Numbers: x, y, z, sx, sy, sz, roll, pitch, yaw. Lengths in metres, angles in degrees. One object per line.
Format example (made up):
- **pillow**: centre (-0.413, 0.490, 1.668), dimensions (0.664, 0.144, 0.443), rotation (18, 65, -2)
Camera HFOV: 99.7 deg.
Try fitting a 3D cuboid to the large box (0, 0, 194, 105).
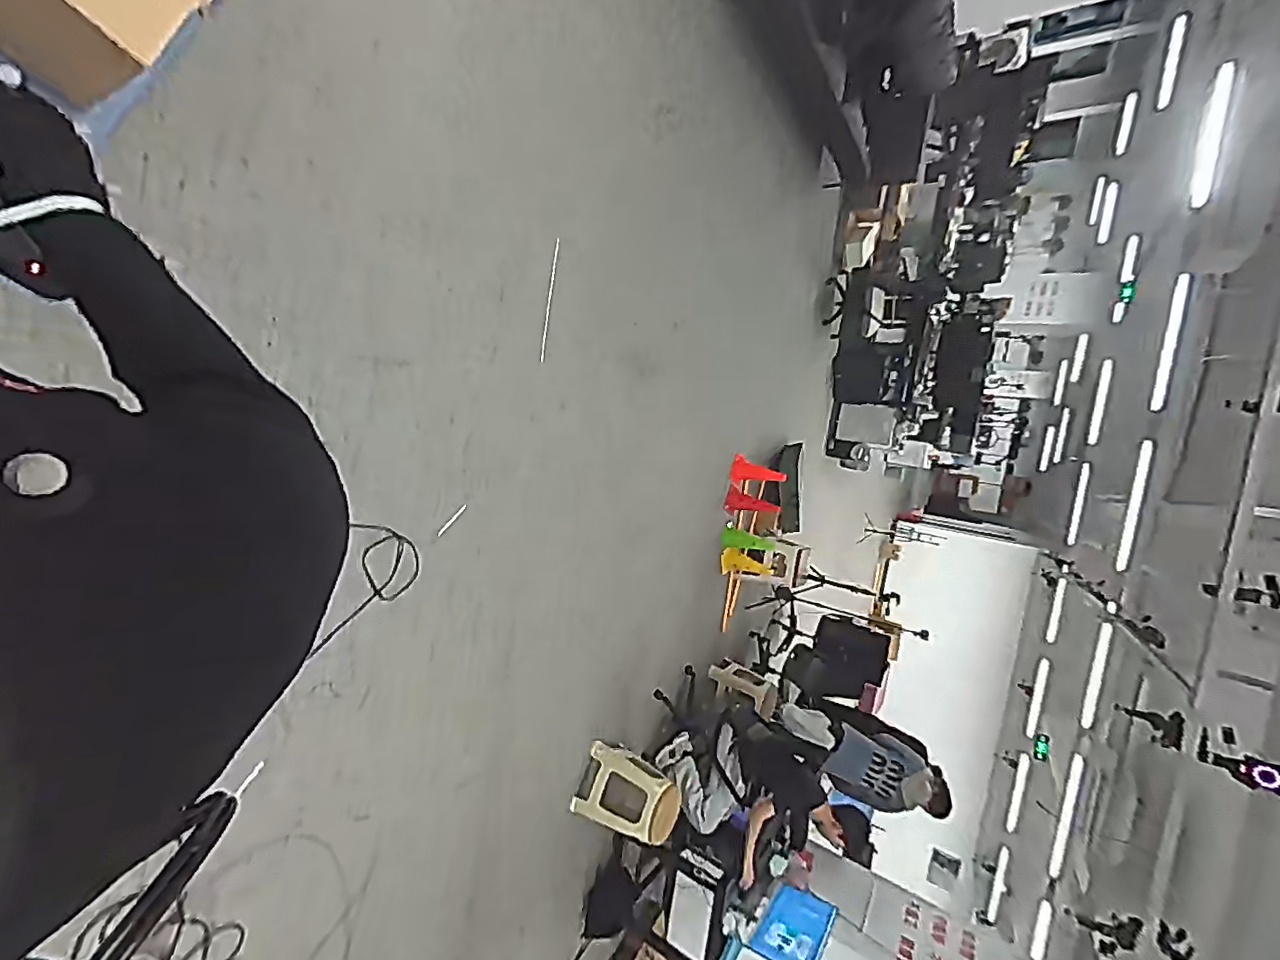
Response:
- **large box**: centre (-0.836, -0.807, 0.698), dimensions (0.408, 0.320, 0.320), rotation (39, 66, -53)
